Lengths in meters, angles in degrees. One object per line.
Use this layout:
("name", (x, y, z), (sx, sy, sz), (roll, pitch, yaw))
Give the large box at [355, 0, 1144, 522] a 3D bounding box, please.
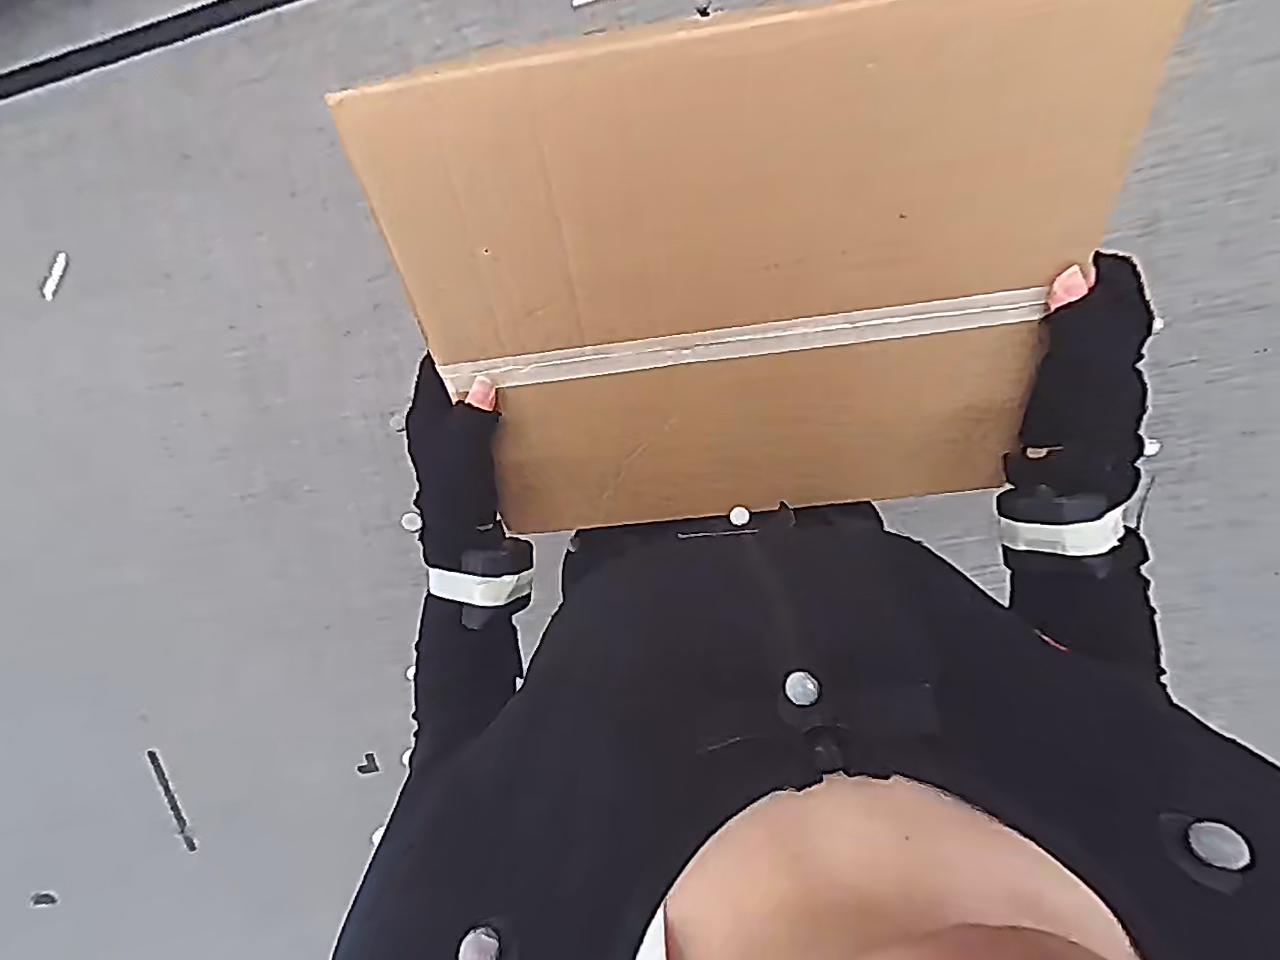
("large box", (0.063, -0.197, 0.476), (0.408, 0.320, 0.320), (-6, 130, 5))
